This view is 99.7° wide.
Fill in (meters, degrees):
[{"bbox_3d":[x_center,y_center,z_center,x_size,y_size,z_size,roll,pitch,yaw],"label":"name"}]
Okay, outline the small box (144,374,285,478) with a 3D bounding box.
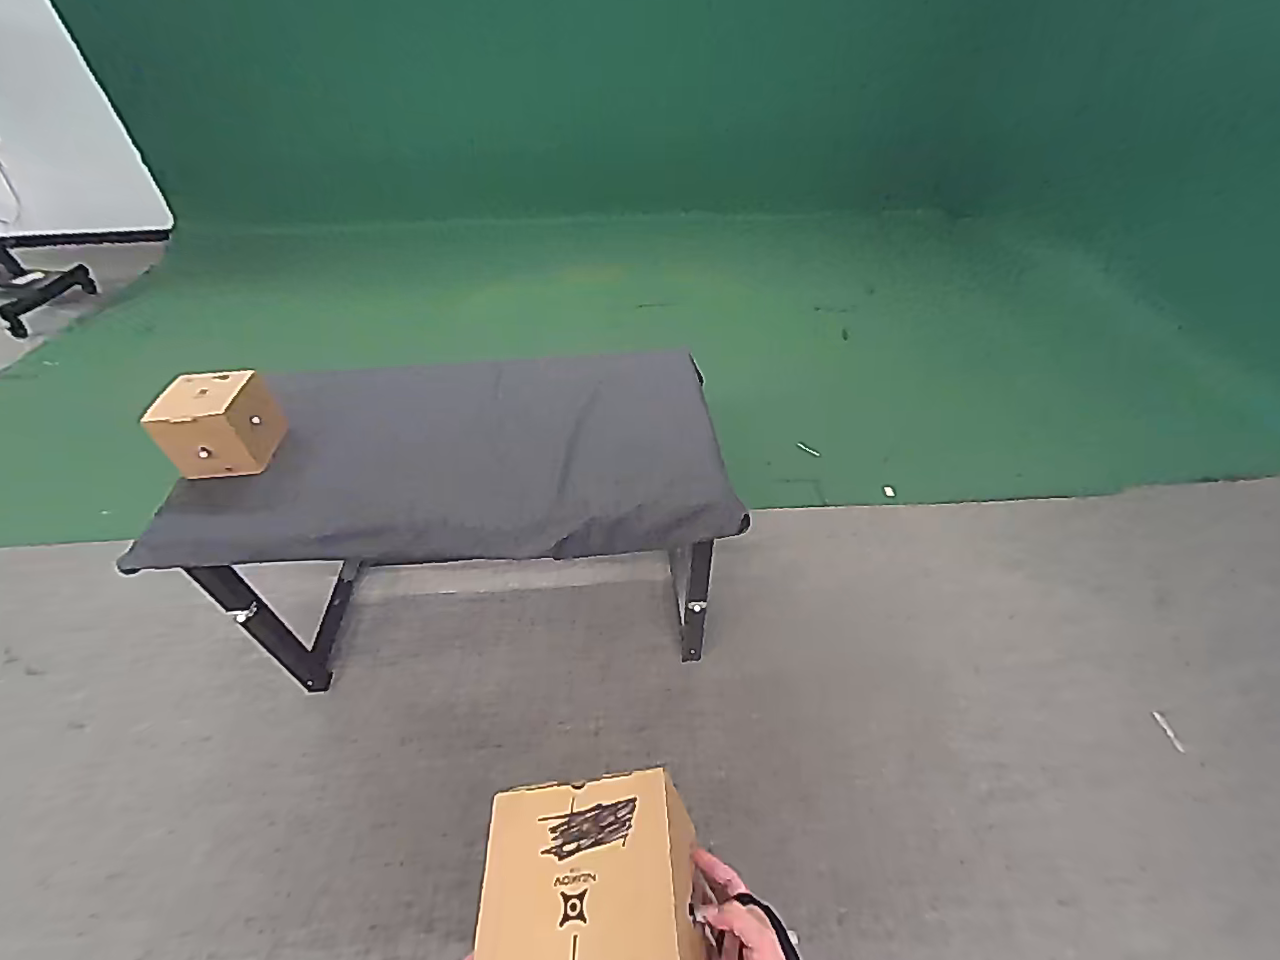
[{"bbox_3d":[-0.947,-0.117,1.227,0.168,0.176,0.179,-5,45,-5],"label":"small box"}]
